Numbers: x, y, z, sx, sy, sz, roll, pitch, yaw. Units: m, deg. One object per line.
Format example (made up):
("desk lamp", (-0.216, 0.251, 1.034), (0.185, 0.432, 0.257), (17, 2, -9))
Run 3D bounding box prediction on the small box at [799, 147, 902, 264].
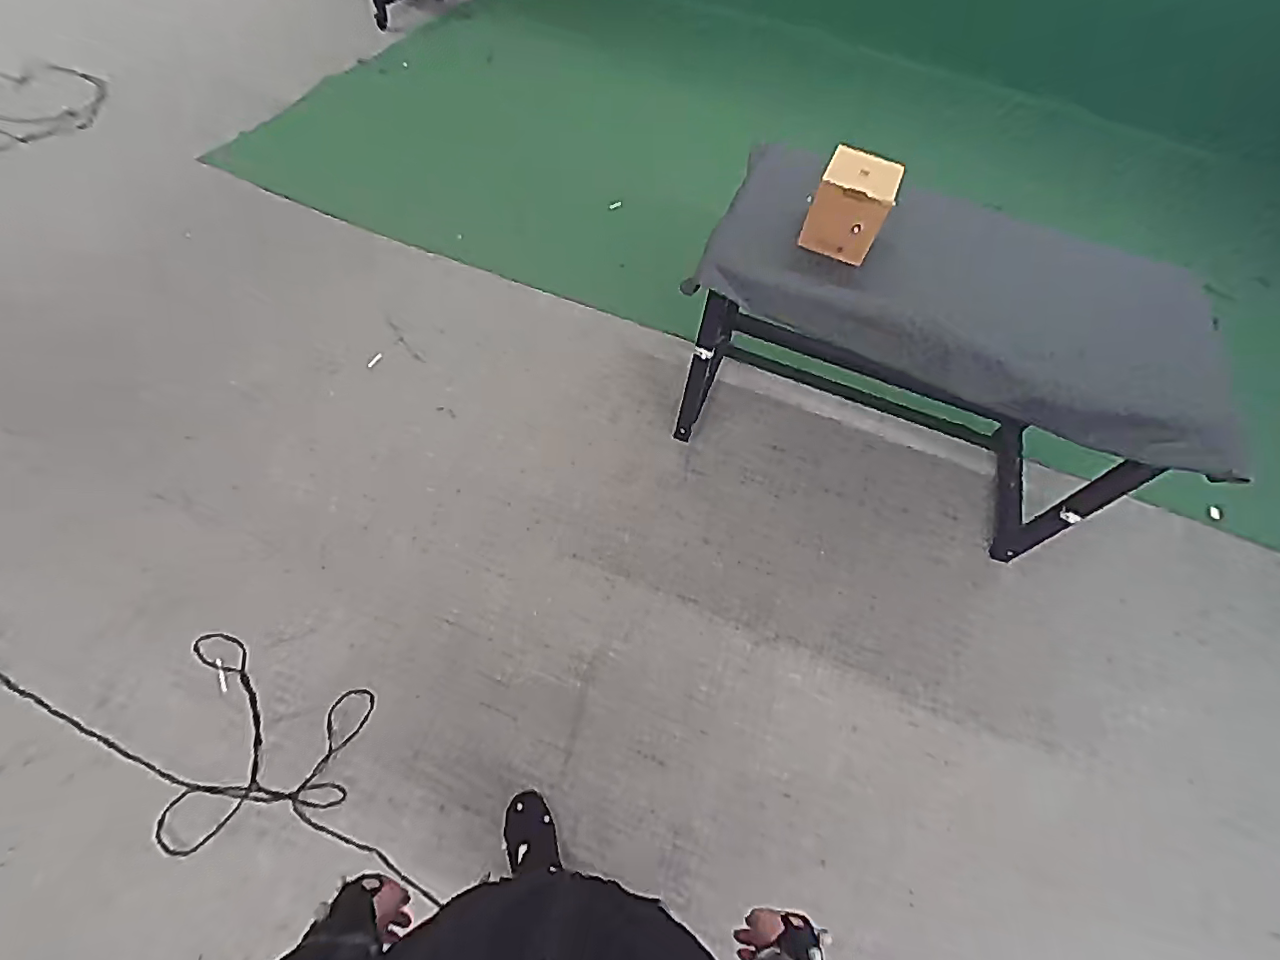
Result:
("small box", (0.504, -0.661, 1.312), (0.168, 0.176, 0.179), (24, 58, 6))
